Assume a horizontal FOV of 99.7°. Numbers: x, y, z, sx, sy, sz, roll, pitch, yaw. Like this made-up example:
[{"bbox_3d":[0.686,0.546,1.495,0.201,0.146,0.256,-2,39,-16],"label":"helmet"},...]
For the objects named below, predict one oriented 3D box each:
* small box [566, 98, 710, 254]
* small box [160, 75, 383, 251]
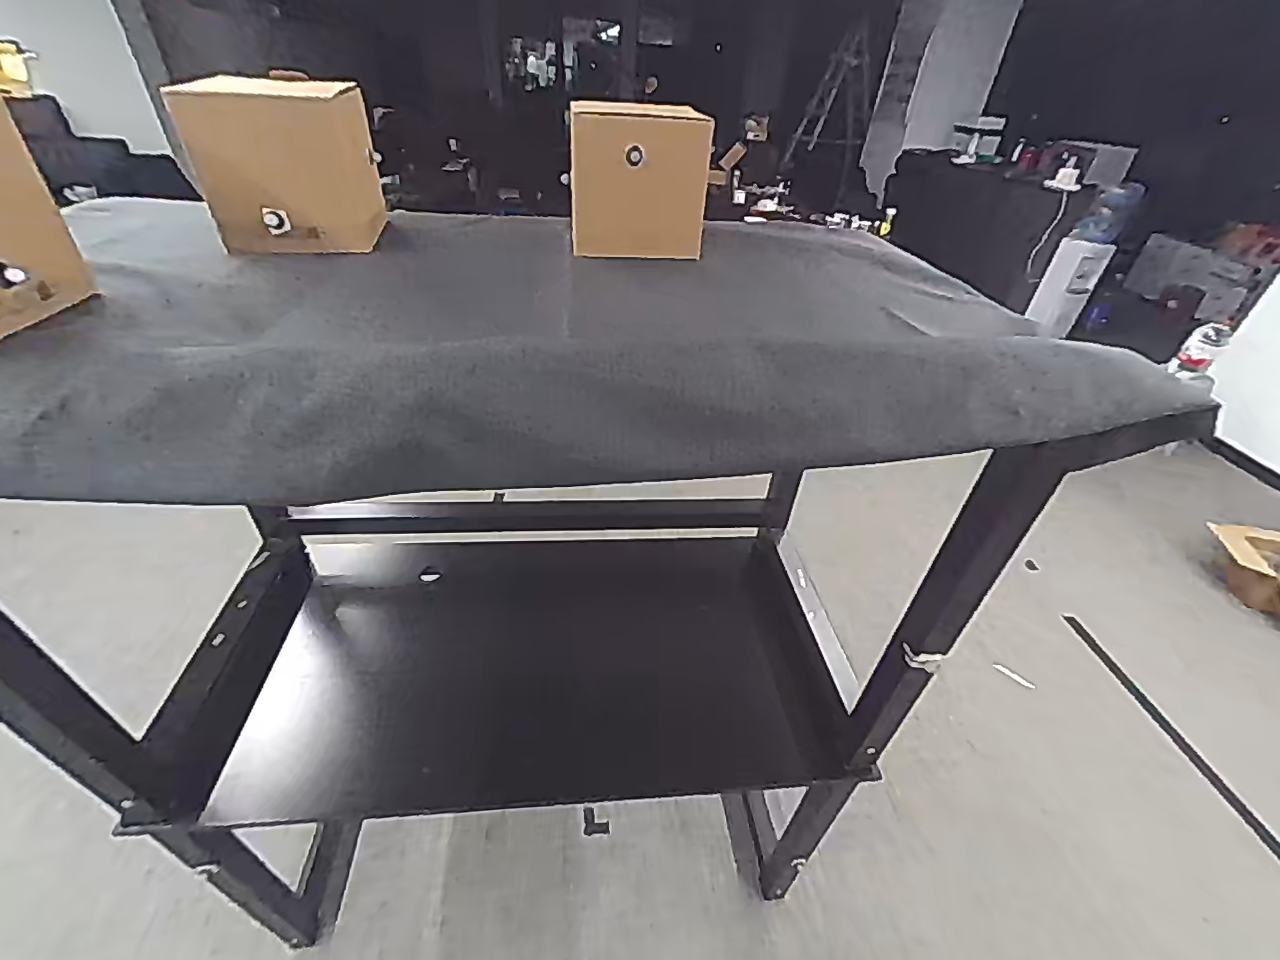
[{"bbox_3d":[-0.011,-0.423,0.754,0.179,0.176,0.168,-1,38,-7],"label":"small box"},{"bbox_3d":[-0.439,-0.401,0.684,0.168,0.176,0.179,-6,38,-12],"label":"small box"}]
